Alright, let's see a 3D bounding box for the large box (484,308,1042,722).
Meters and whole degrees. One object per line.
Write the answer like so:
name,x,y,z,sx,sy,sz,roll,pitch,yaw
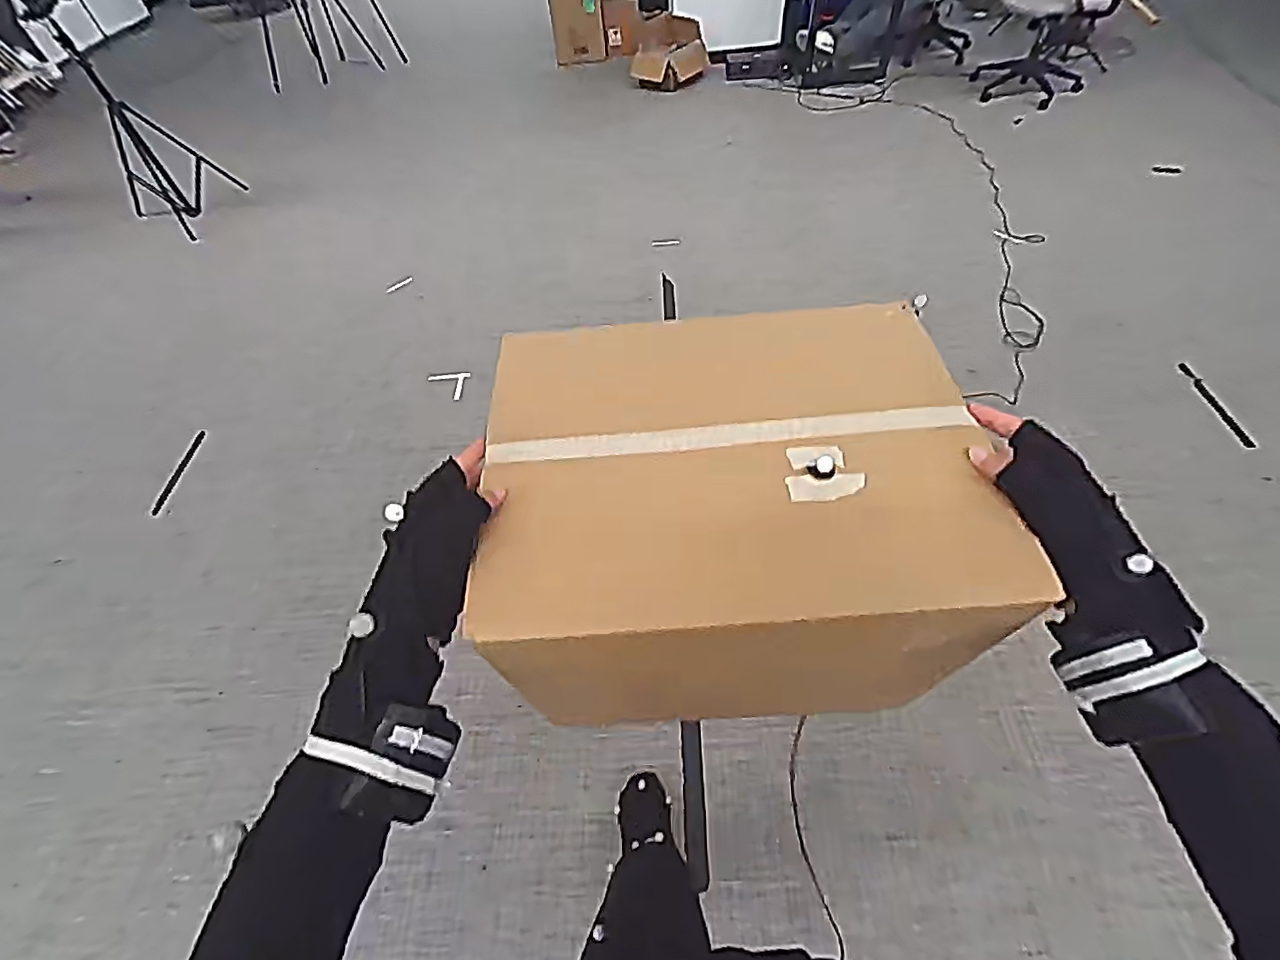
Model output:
large box,0.082,0.051,0.583,0.408,0.320,0.320,-4,56,1
